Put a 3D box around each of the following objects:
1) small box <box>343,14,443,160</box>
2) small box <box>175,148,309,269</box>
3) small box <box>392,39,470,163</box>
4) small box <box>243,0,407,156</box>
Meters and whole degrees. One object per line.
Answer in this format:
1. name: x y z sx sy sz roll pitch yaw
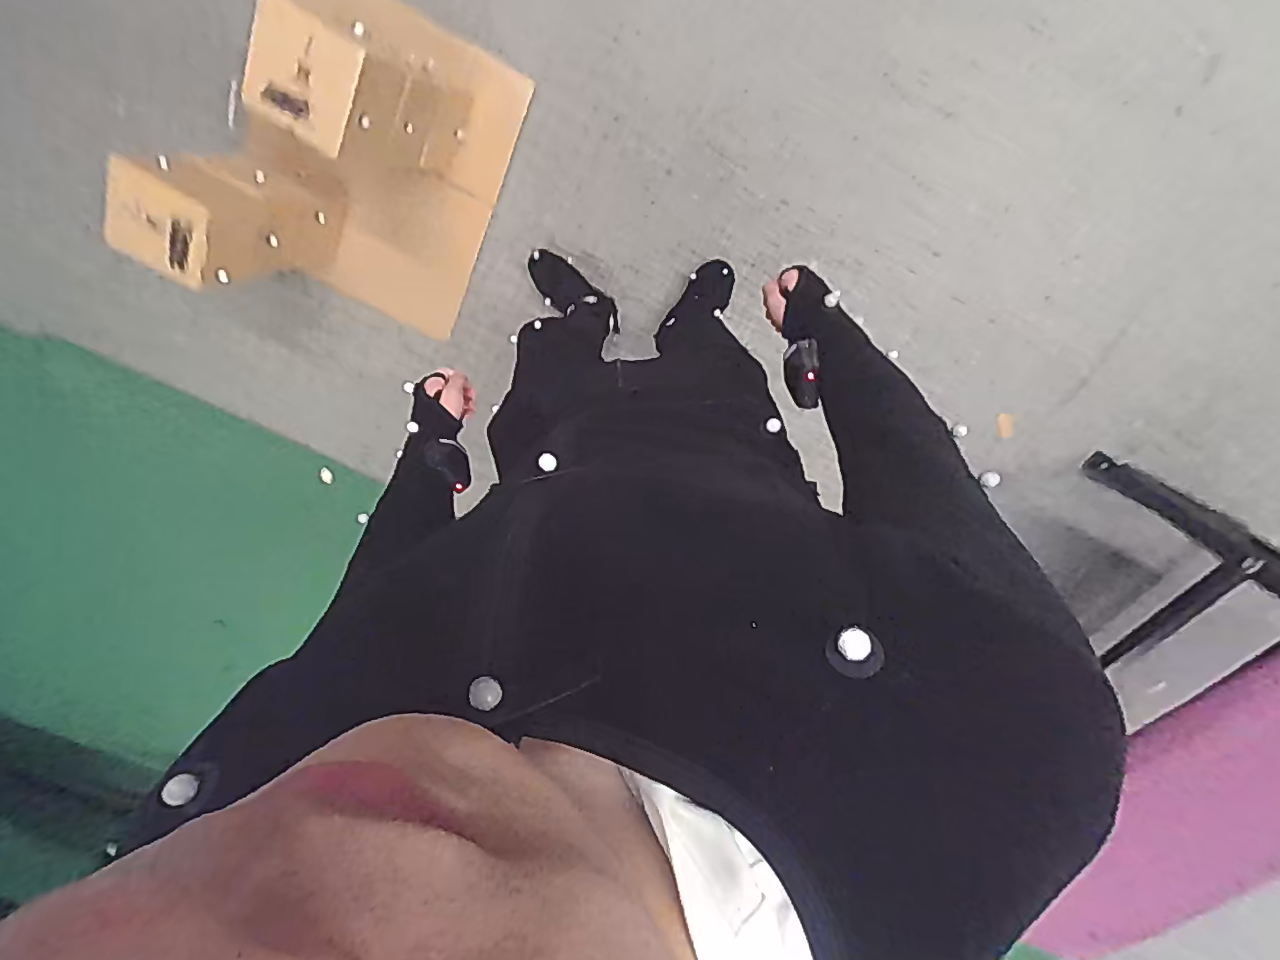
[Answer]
1. small box: -0.517 -0.765 1.072 0.168 0.176 0.179 31 117 -13
2. small box: -0.868 -0.599 1.192 0.168 0.176 0.179 27 119 -11
3. small box: -0.502 -0.844 1.214 0.168 0.176 0.179 29 117 -11
4. small box: -0.529 -0.687 0.927 0.168 0.176 0.179 30 117 -13
